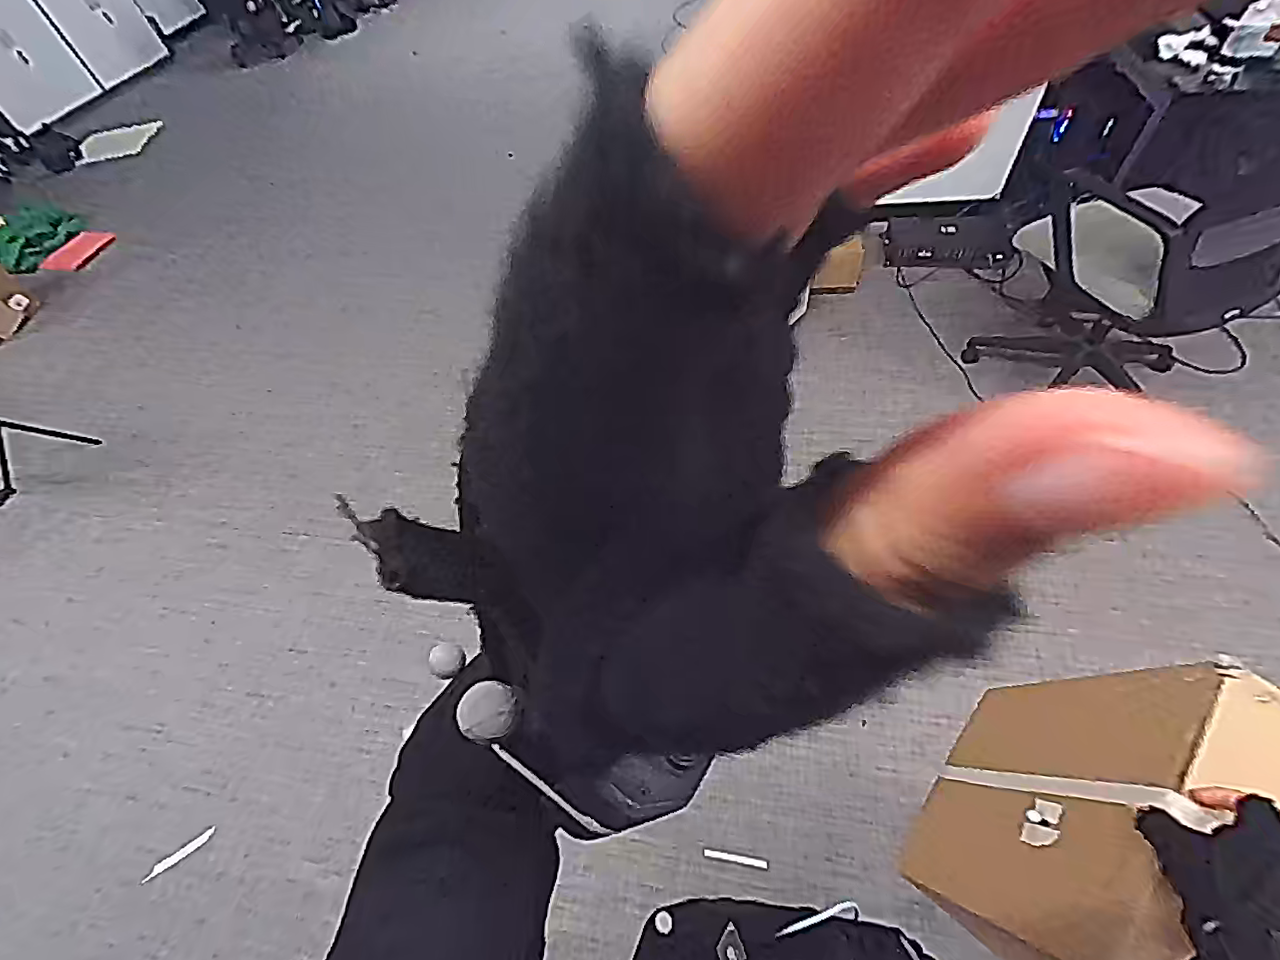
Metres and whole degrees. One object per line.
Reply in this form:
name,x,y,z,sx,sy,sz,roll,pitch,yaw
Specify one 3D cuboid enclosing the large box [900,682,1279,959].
large box,0.576,0.460,0.585,0.320,0.408,0.320,38,71,15
